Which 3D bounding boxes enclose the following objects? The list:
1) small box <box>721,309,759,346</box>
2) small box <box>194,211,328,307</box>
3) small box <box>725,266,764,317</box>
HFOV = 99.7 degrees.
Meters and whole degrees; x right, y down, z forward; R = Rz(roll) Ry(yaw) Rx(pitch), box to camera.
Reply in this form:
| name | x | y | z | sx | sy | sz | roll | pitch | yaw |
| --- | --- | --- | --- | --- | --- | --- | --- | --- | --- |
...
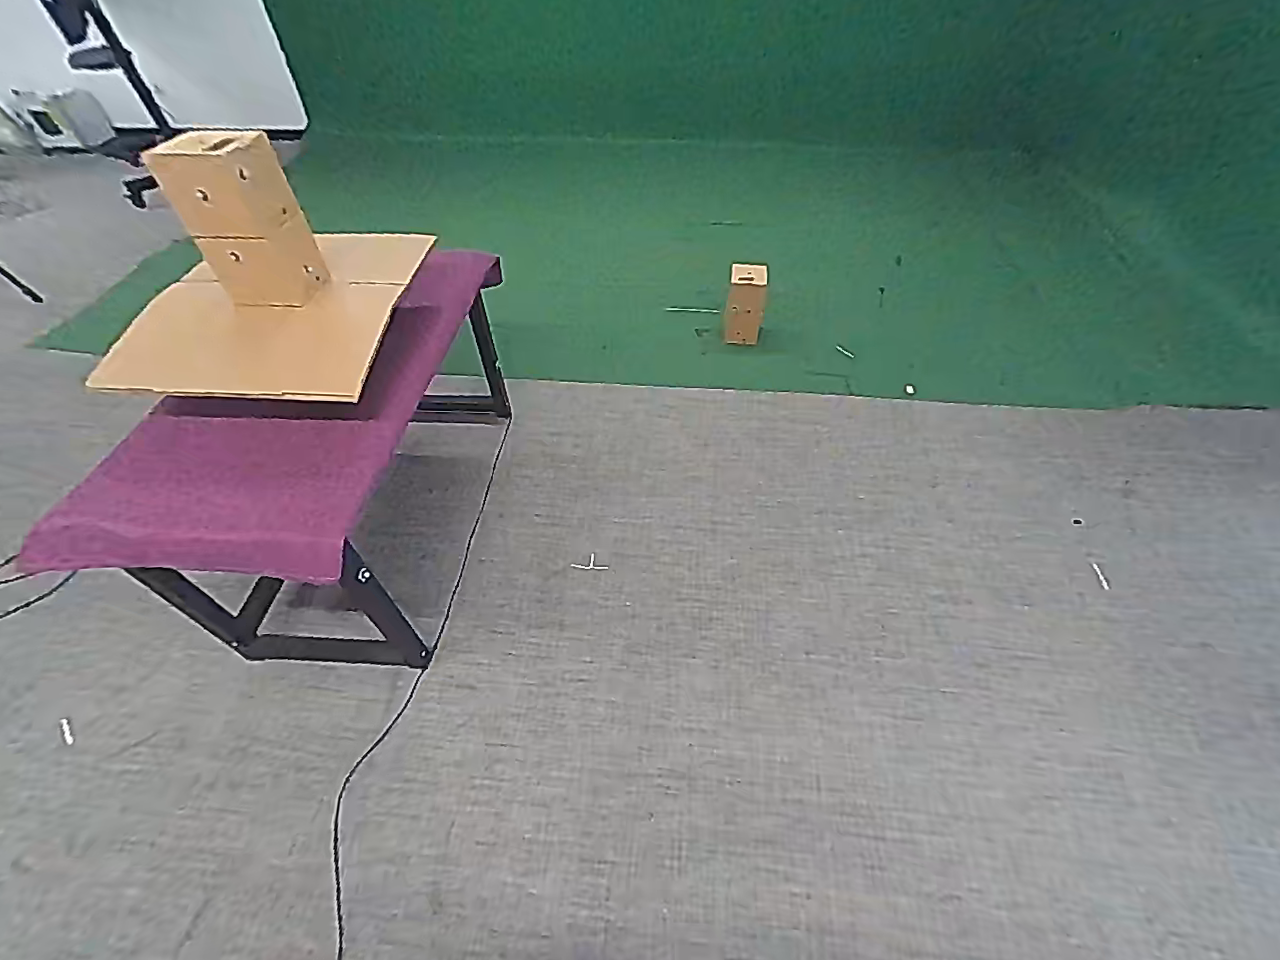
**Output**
| name | x | y | z | sx | sy | sz | roll | pitch | yaw |
| --- | --- | --- | --- | --- | --- | --- | --- | --- | --- |
| small box | 0.503 | -0.799 | 2.725 | 0.168 | 0.176 | 0.179 | 5 | 50 | 4 |
| small box | -0.910 | -0.536 | 1.318 | 0.179 | 0.176 | 0.168 | 2 | 47 | 2 |
| small box | 0.503 | -0.906 | 2.600 | 0.168 | 0.176 | 0.179 | 6 | 49 | 5 |
